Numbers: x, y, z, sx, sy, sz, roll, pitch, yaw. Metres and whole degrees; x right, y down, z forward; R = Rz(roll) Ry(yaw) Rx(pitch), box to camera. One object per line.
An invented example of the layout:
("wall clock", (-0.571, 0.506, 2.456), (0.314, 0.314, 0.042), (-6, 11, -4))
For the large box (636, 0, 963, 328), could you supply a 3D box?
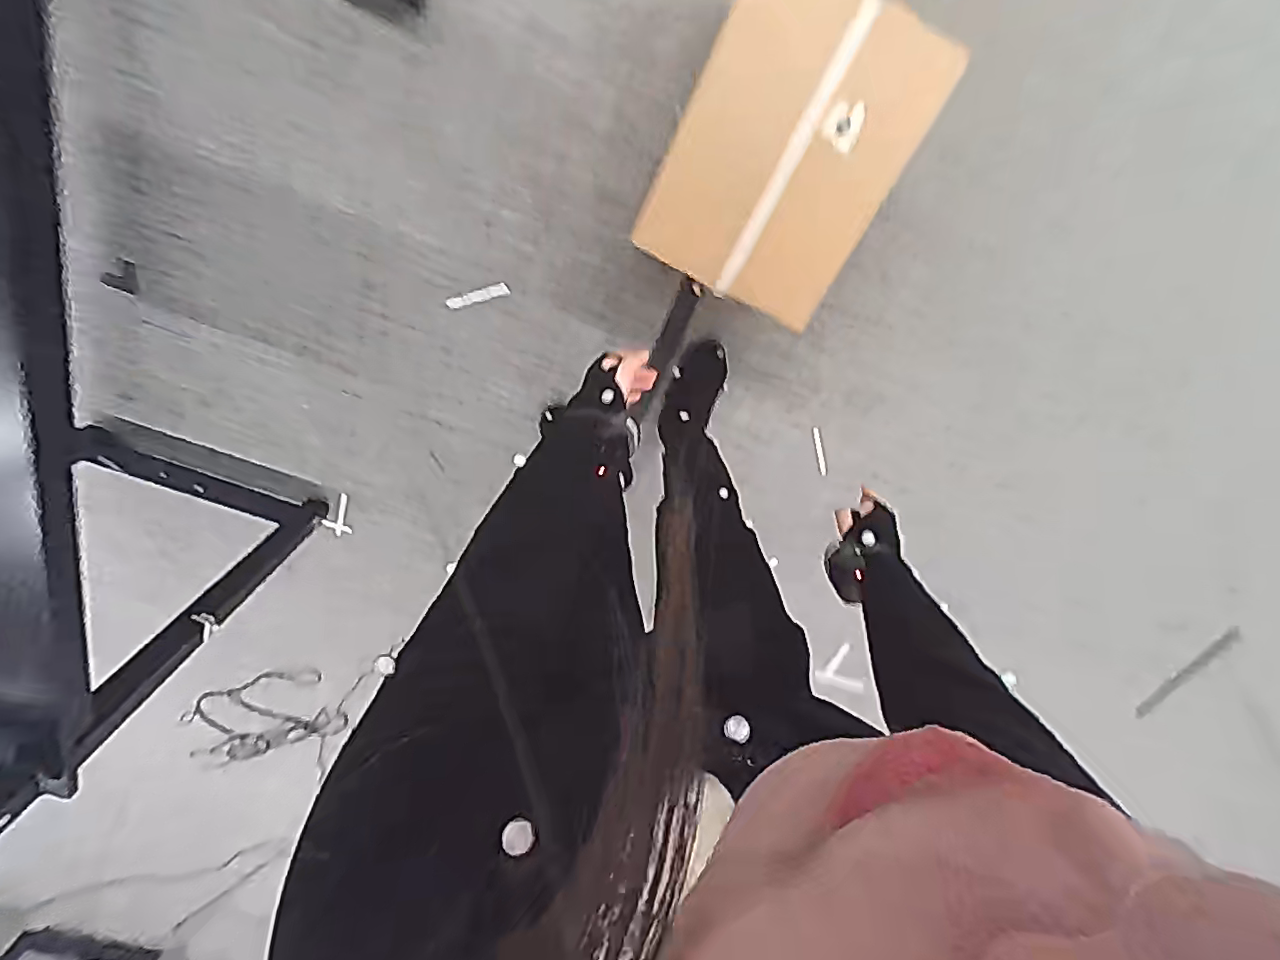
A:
("large box", (0.213, -0.526, 0.904), (0.320, 0.320, 0.408), (24, 114, -12))
